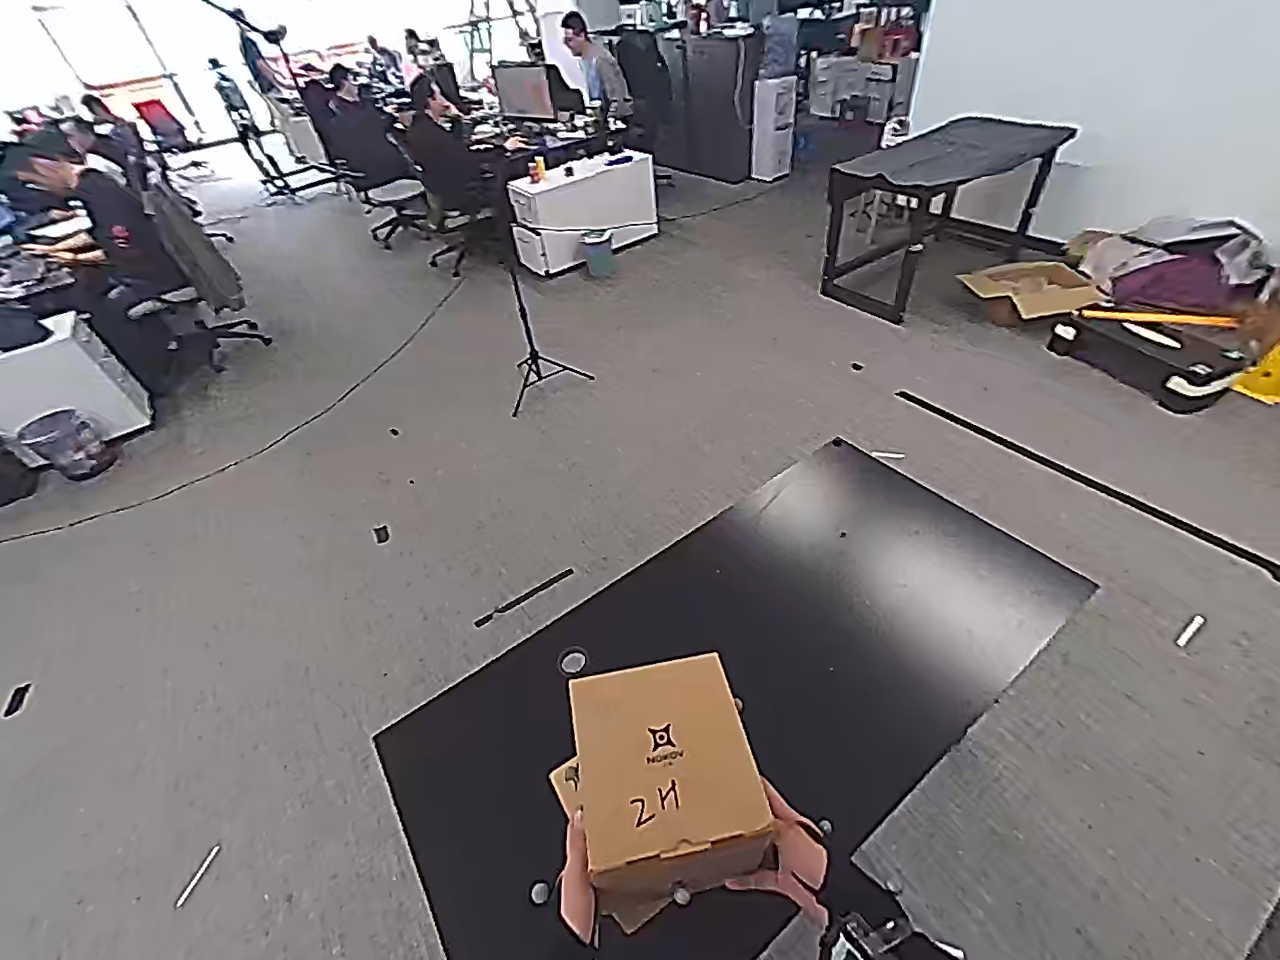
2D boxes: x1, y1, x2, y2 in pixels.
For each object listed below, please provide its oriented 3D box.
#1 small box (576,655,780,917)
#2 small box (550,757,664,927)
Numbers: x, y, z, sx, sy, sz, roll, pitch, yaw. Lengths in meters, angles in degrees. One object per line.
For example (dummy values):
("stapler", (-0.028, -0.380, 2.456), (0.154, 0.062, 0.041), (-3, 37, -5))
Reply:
("small box", (0.027, 0.314, 0.564), (0.168, 0.176, 0.179), (-8, 41, -7))
("small box", (0.002, 0.461, 0.732), (0.168, 0.176, 0.179), (-27, 47, -19))
